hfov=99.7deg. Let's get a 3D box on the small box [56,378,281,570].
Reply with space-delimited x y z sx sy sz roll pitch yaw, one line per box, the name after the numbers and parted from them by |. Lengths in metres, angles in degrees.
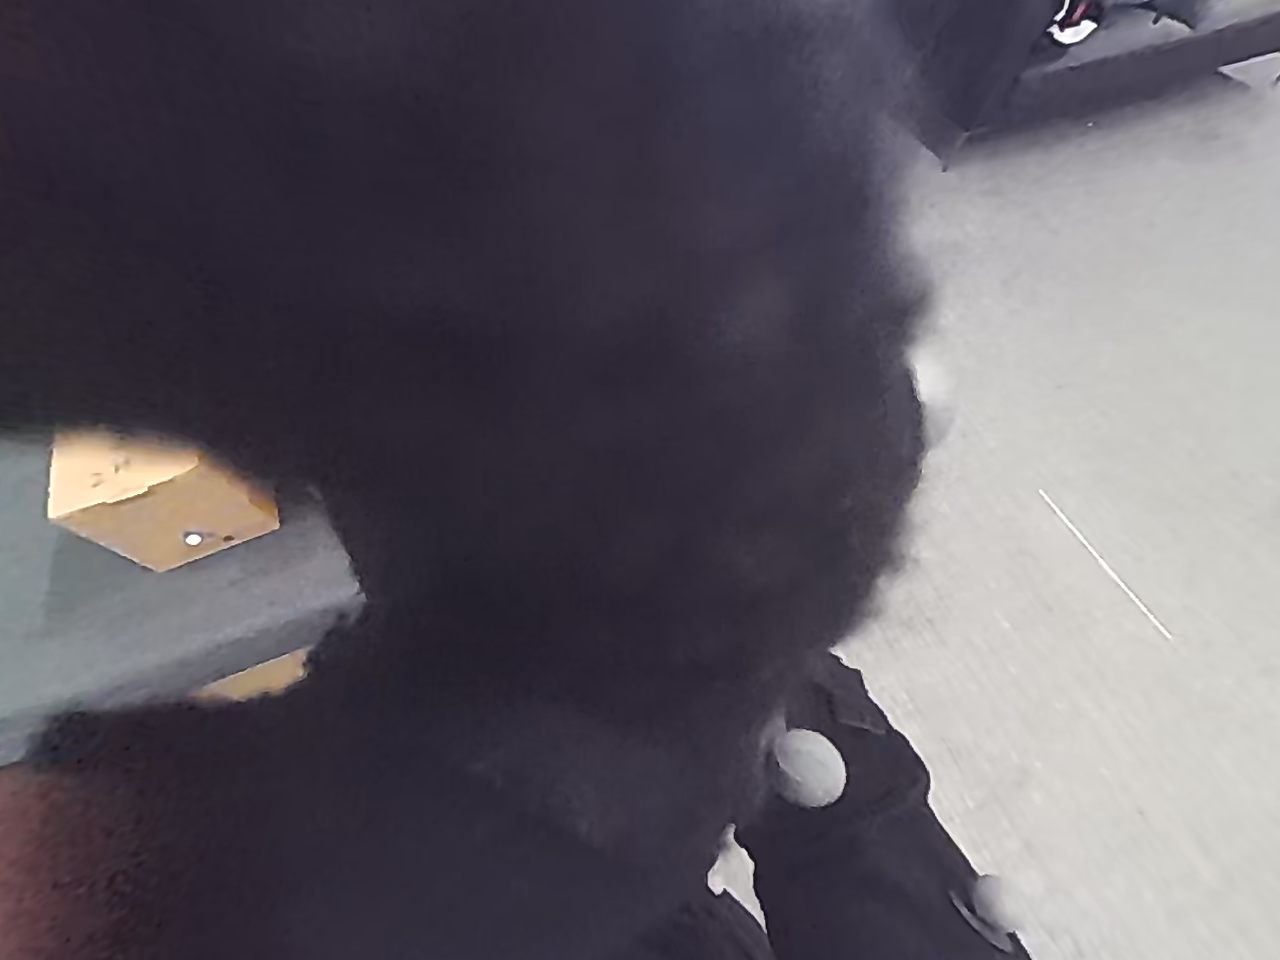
-0.637 -0.004 0.751 0.168 0.176 0.179 -23 62 -12 | small box
